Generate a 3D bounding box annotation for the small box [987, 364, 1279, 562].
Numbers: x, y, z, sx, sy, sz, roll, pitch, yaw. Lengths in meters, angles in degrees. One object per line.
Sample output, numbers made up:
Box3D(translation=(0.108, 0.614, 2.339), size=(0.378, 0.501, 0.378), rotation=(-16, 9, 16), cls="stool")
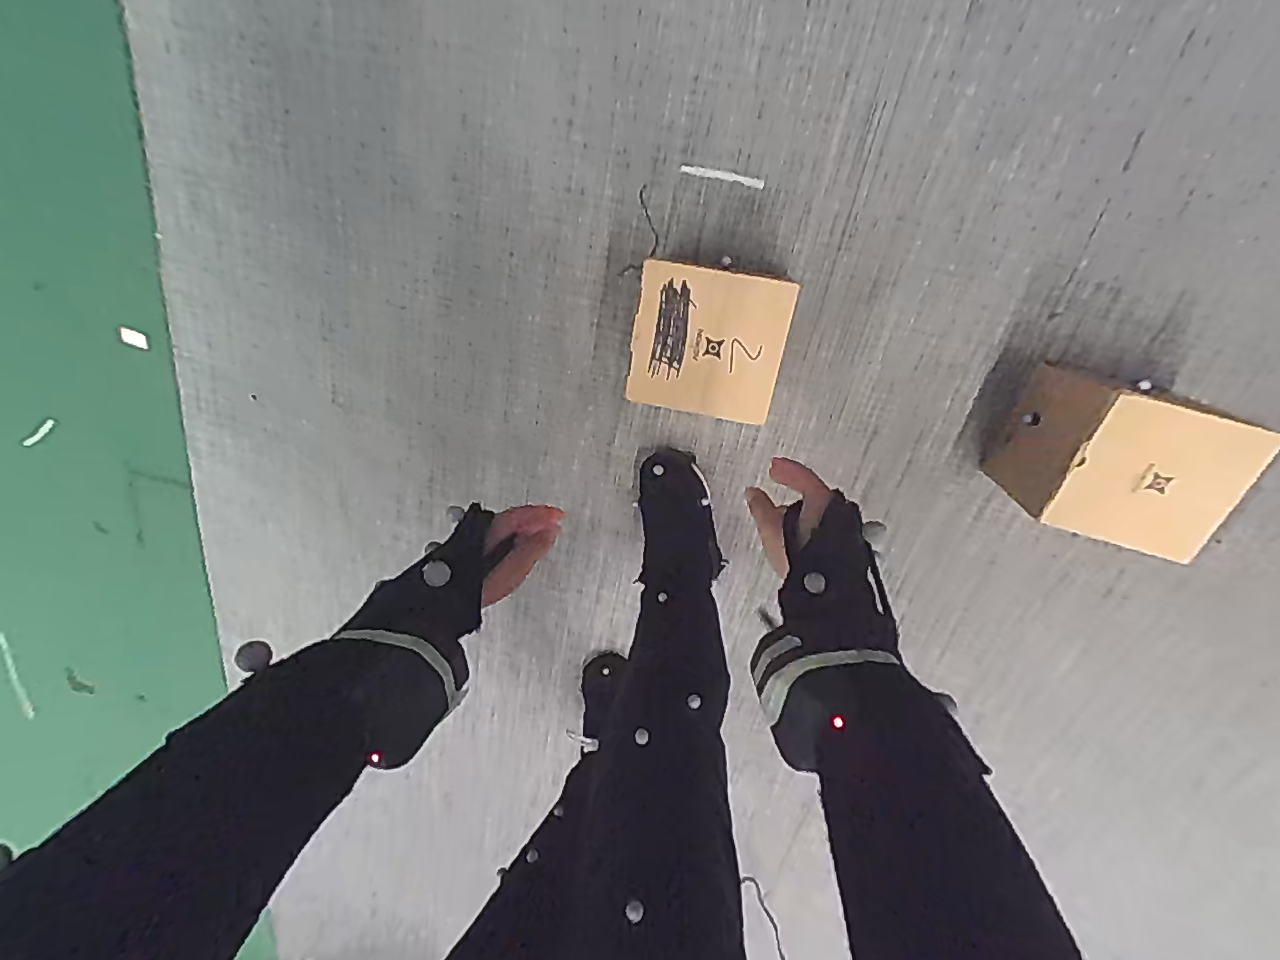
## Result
Box3D(translation=(0.576, -0.032, 0.660), size=(0.179, 0.176, 0.168), rotation=(17, 115, 5), cls="small box")
